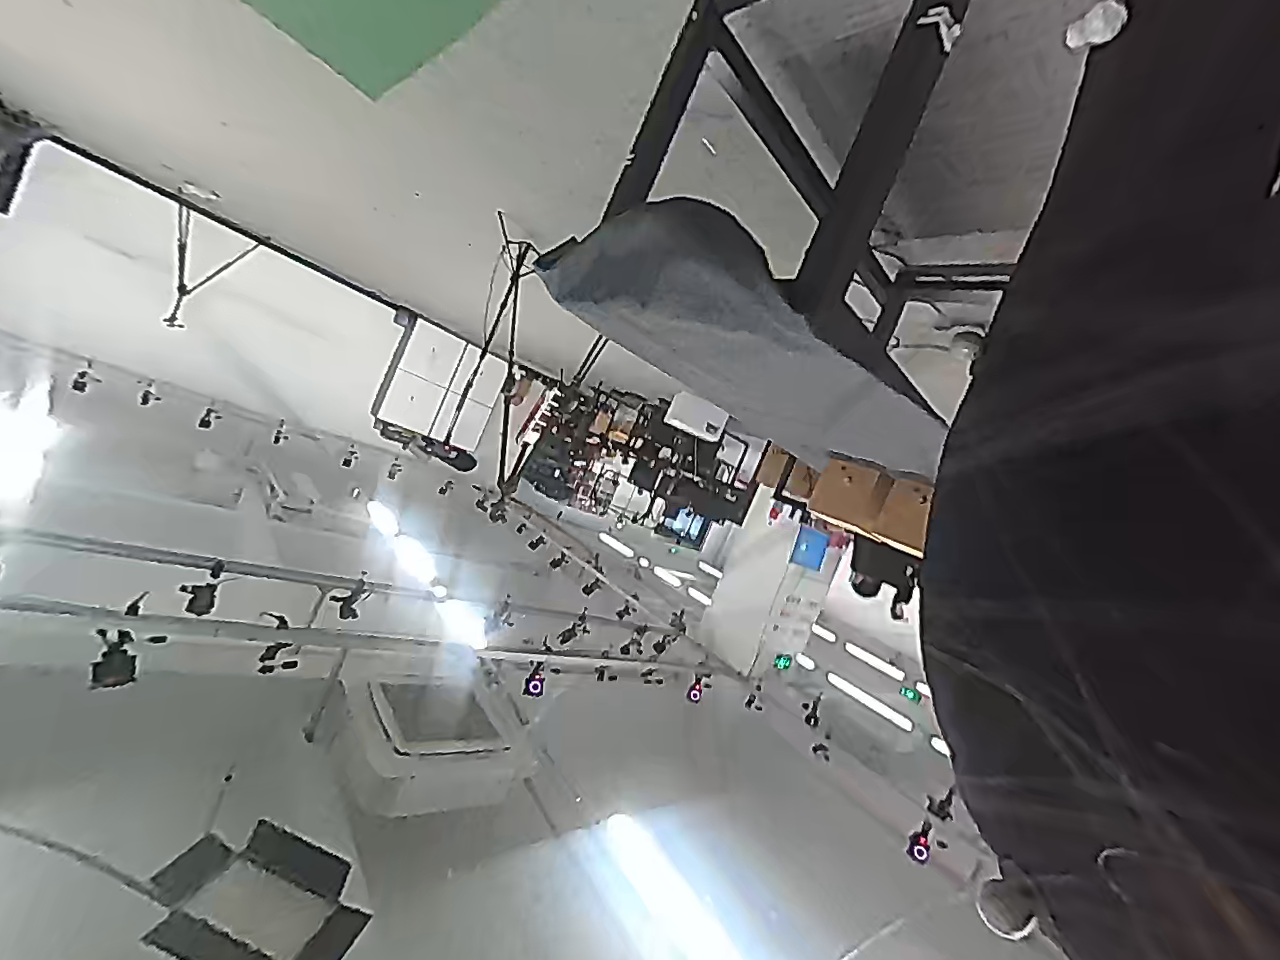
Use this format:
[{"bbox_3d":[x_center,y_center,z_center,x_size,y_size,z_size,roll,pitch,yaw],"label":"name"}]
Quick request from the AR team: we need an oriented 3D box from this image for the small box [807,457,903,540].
[{"bbox_3d":[0.620,0.051,1.549,0.179,0.176,0.168,23,180,-40],"label":"small box"}]
